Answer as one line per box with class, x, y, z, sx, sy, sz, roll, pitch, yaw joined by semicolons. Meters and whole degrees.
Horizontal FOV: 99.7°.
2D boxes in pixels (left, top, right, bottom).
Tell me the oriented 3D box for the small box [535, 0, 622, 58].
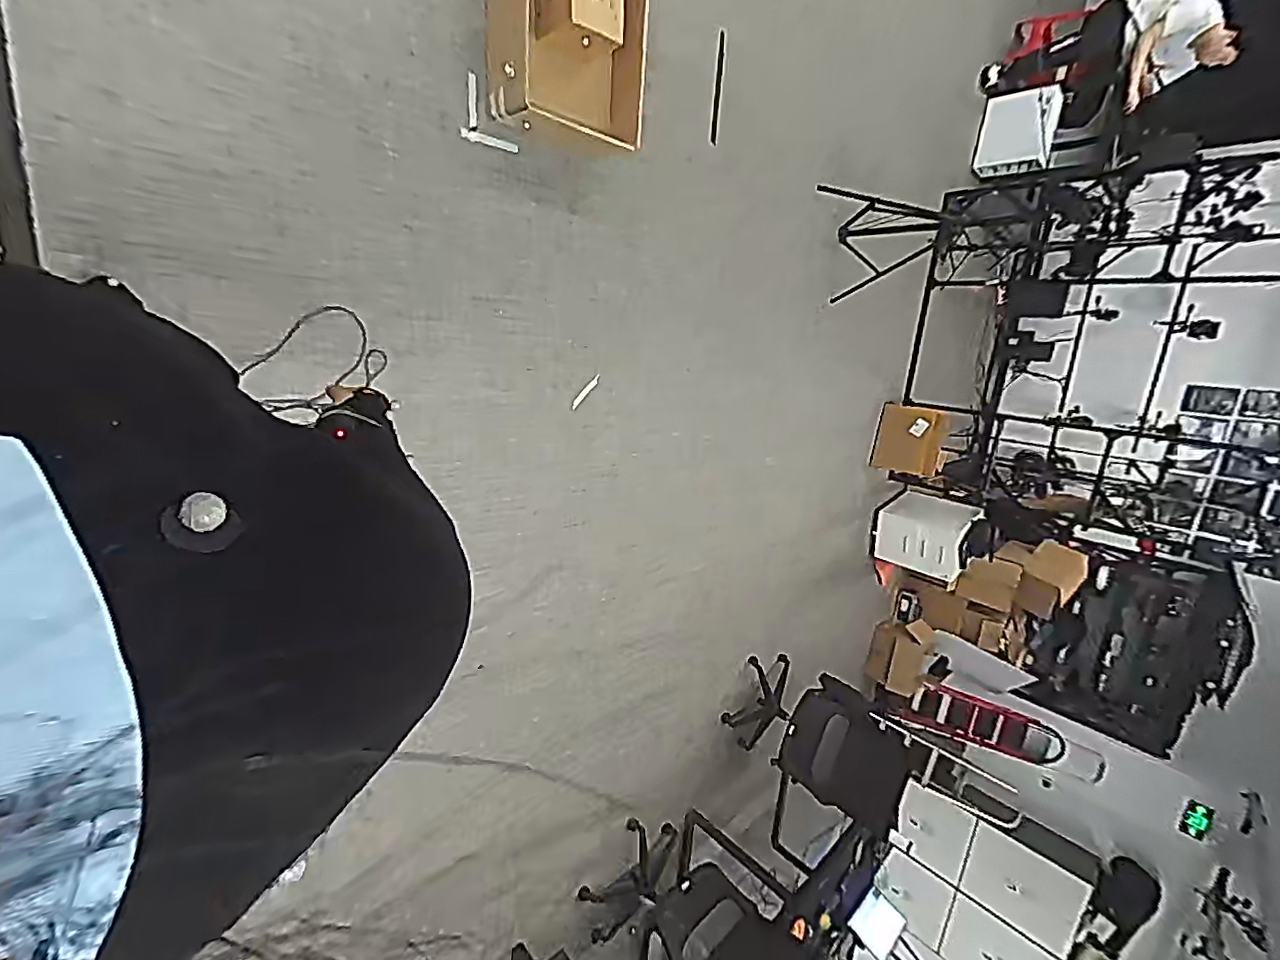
small box;-0.167;-1.266;1.441;0.179;0.176;0.168;-15;114;-42
